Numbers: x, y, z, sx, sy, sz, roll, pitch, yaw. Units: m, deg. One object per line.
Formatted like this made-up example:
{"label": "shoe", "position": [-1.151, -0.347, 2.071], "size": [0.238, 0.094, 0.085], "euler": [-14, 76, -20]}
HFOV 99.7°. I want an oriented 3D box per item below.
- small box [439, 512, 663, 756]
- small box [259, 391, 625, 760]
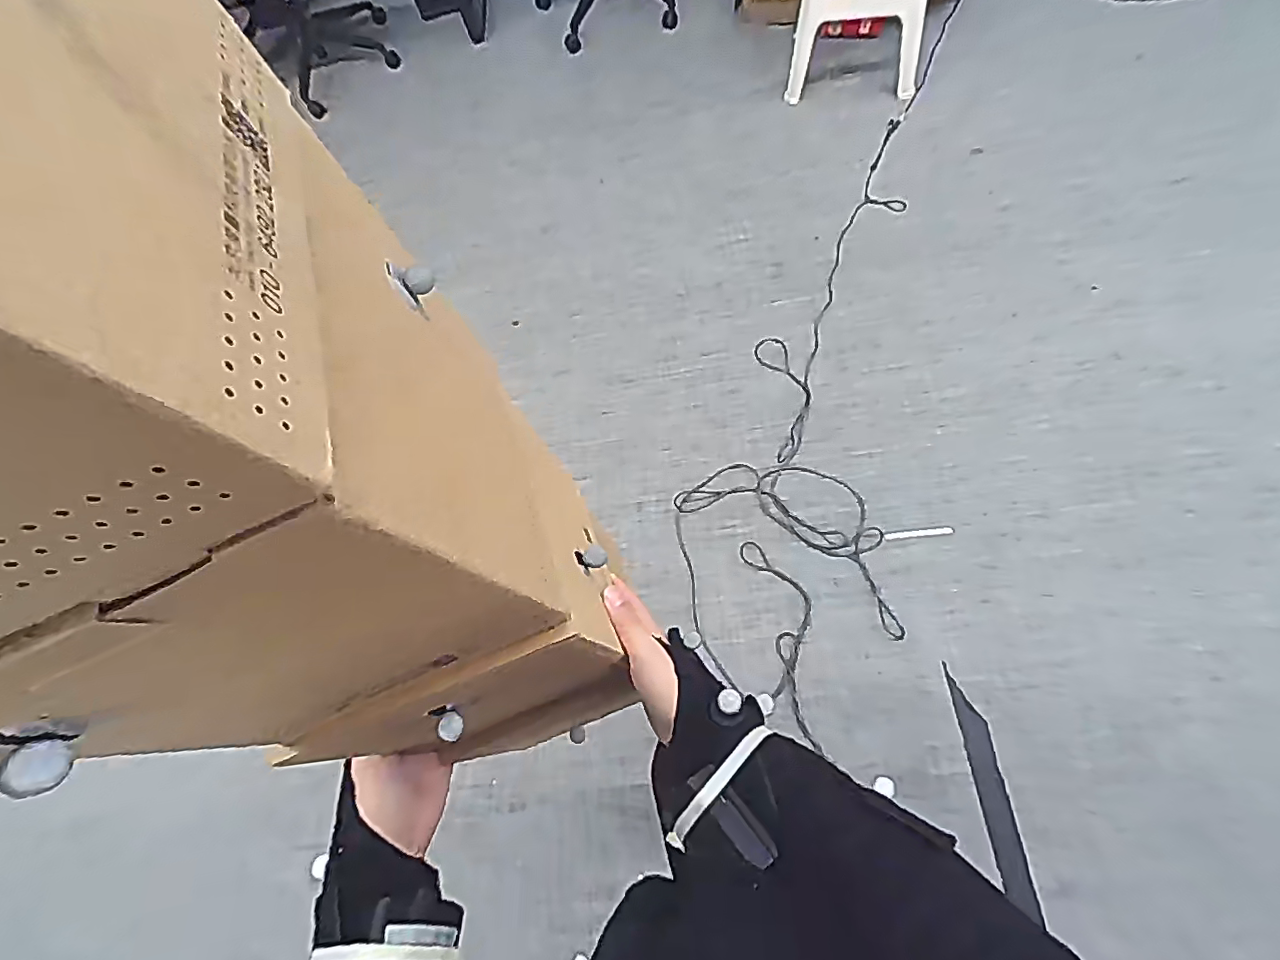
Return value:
{"label": "small box", "position": [-0.090, 0.145, 0.525], "size": [0.168, 0.176, 0.179], "euler": [-23, 65, 2]}
{"label": "small box", "position": [-0.120, 0.073, 0.382], "size": [0.179, 0.176, 0.168], "euler": [-24, 65, 2]}
